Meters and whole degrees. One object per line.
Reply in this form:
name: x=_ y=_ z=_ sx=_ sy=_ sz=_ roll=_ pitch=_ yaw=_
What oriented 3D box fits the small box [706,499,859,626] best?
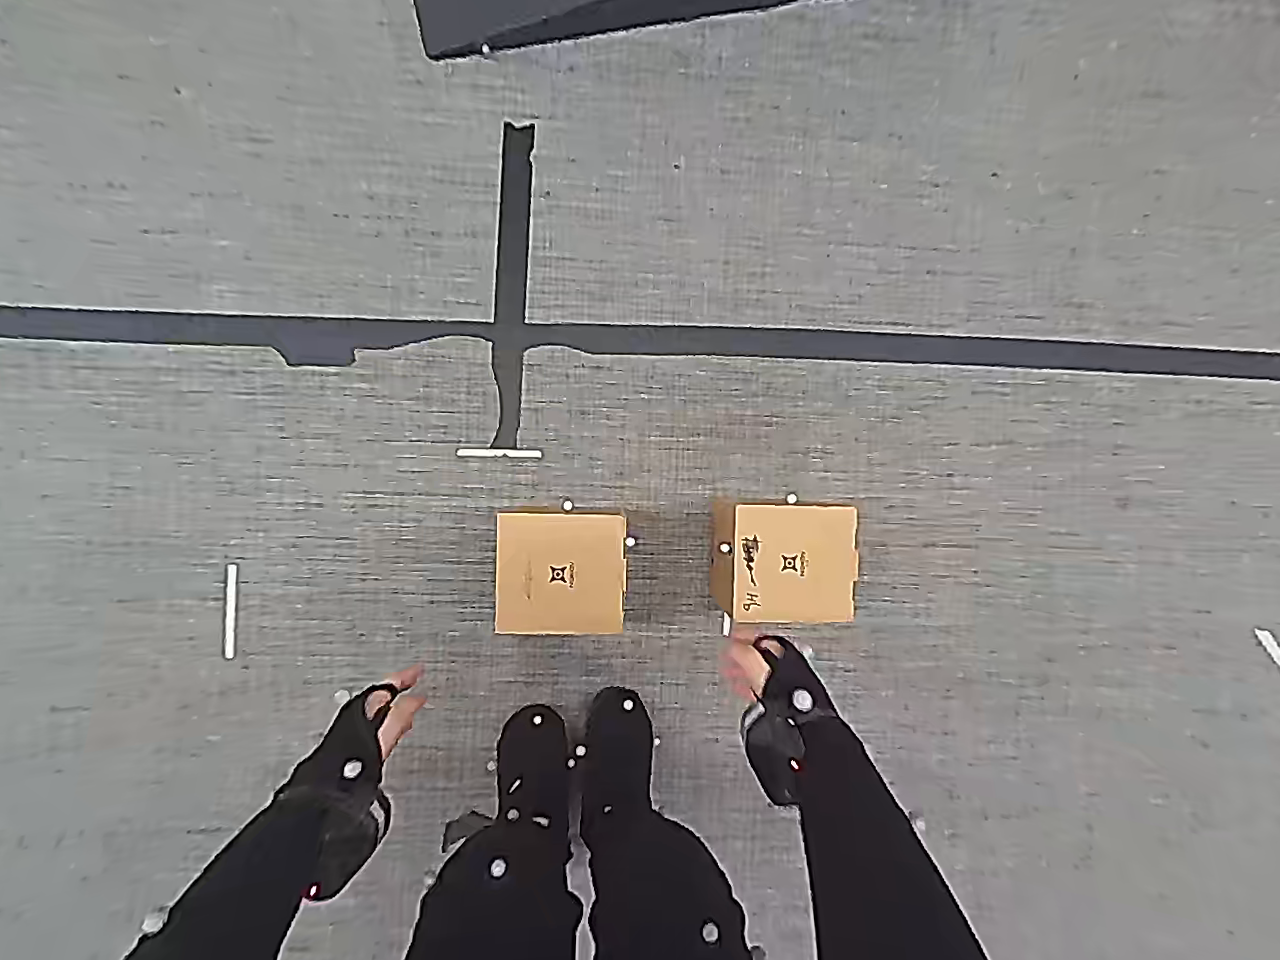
small box: x=0.207 y=0.116 z=0.822 sx=0.179 sy=0.176 sz=0.168 roll=2 pitch=90 yaw=-4

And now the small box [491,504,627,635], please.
small box: x=-0.113 y=0.123 z=0.802 sx=0.179 sy=0.176 sz=0.168 roll=2 pitch=91 yaw=-3
